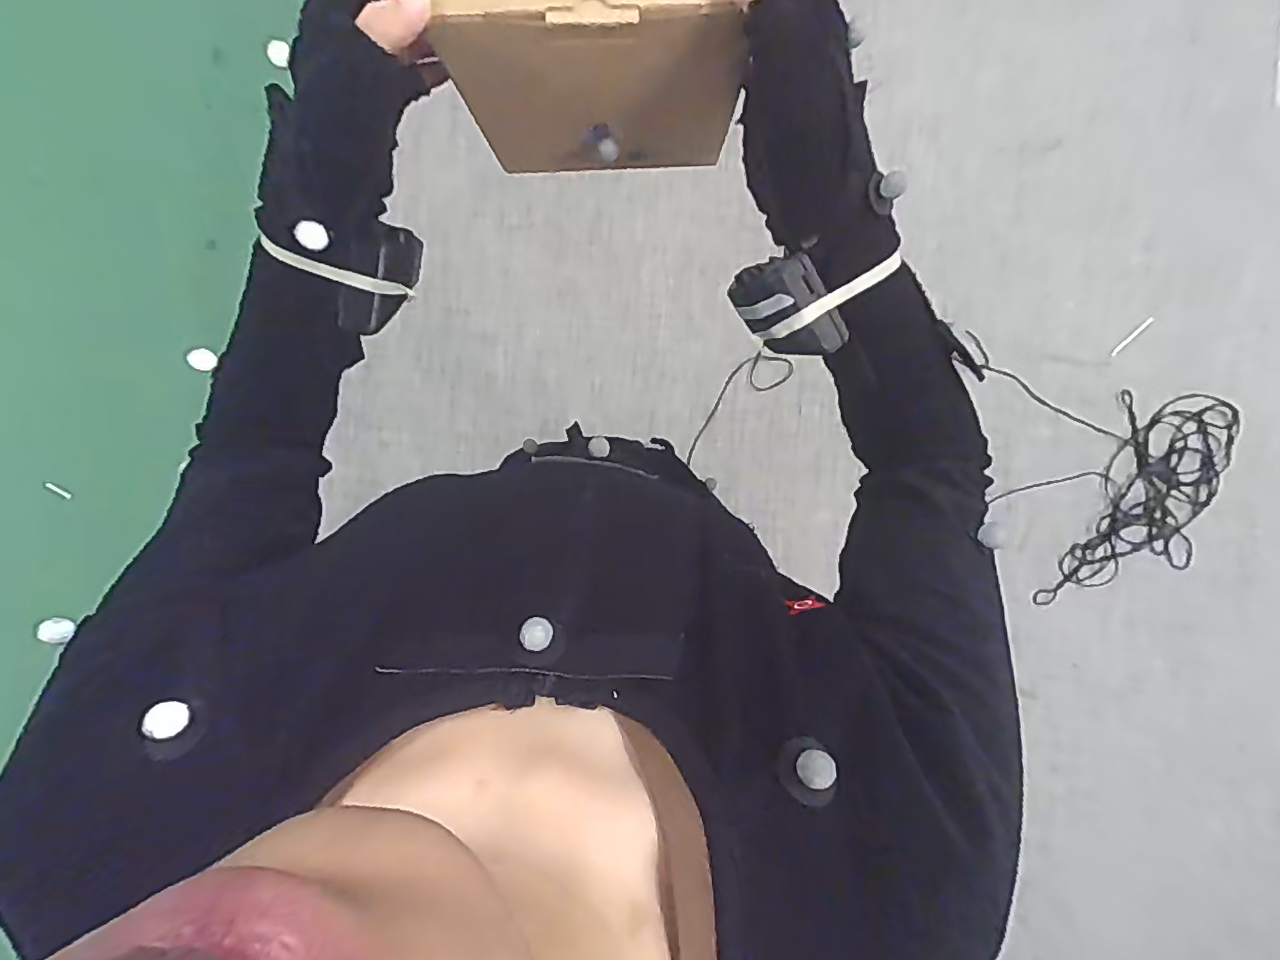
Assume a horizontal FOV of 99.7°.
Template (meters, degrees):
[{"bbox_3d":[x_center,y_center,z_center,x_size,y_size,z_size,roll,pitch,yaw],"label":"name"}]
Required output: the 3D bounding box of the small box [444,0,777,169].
[{"bbox_3d":[-0.017,-0.318,0.327,0.168,0.176,0.179,-2,96,1],"label":"small box"}]
